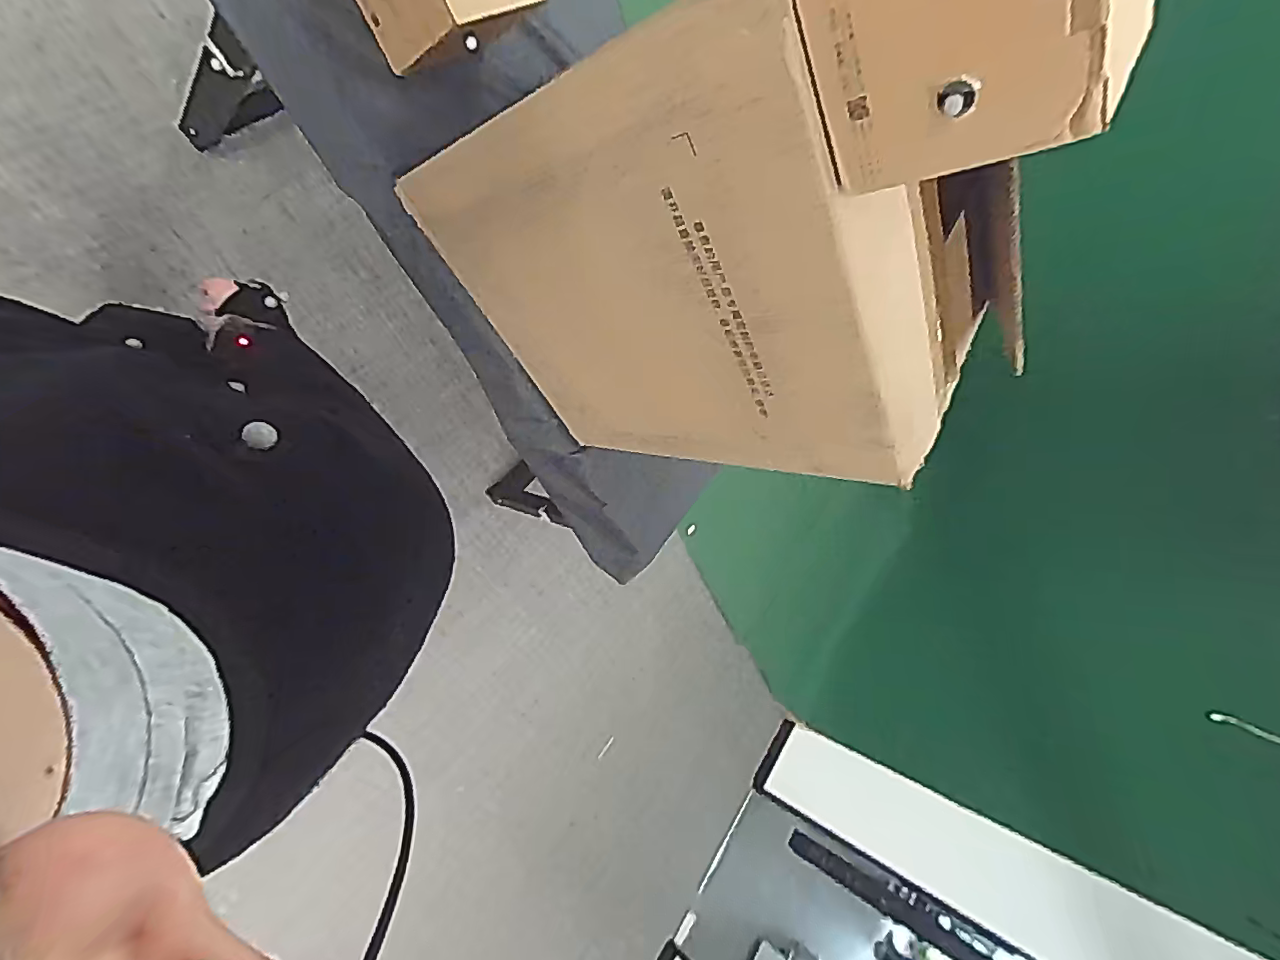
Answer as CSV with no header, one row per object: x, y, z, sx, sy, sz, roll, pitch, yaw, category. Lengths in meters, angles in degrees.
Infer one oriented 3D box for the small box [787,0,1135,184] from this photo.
0.213,-0.335,0.367,0.179,0.176,0.168,-53,130,-25,small box
